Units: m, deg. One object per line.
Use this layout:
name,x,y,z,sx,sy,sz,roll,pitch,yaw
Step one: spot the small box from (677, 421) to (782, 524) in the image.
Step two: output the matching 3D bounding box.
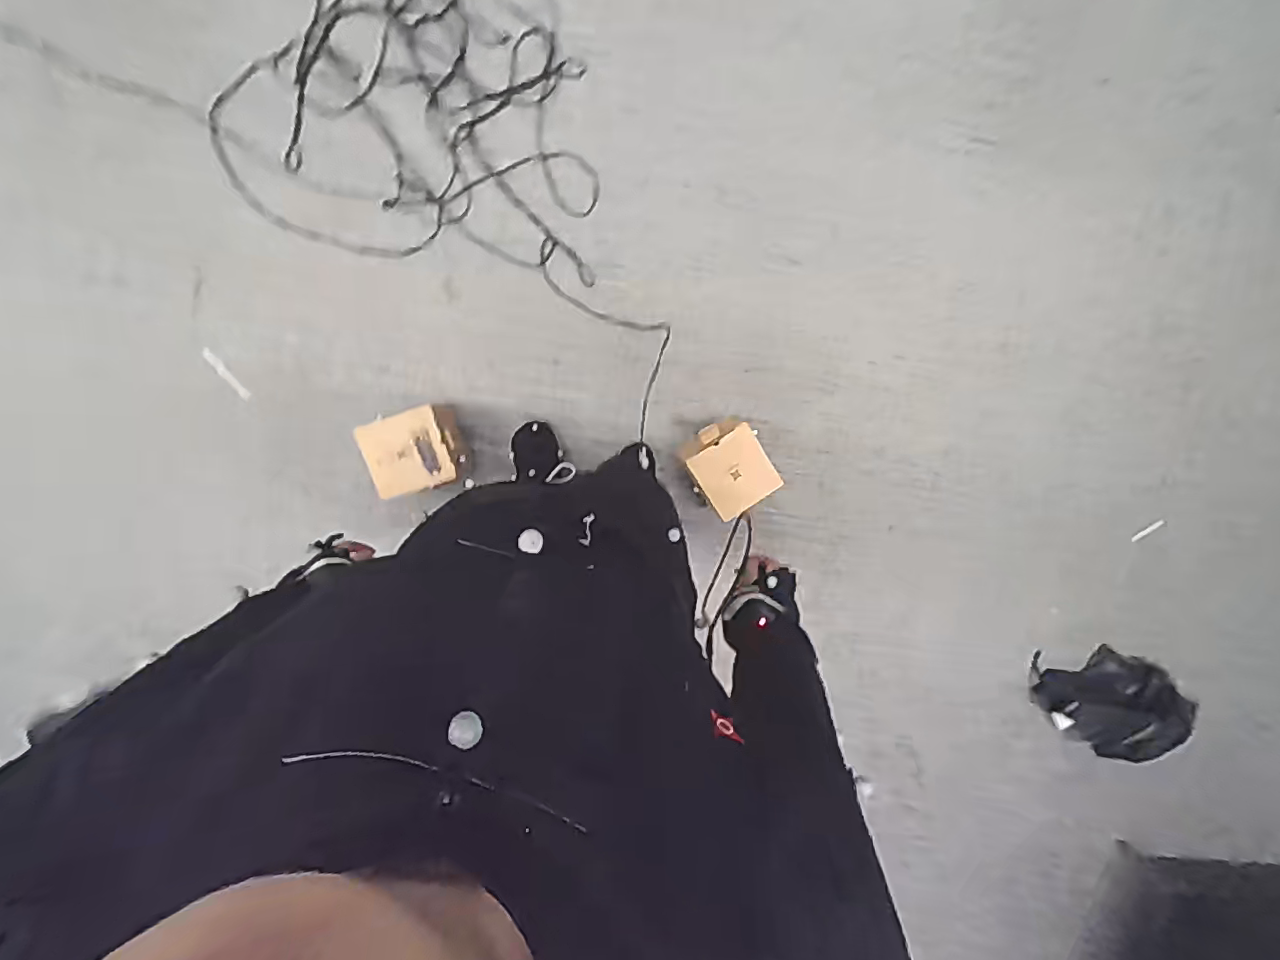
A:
small box,0.208,-0.026,1.300,0.168,0.176,0.179,-34,100,2
